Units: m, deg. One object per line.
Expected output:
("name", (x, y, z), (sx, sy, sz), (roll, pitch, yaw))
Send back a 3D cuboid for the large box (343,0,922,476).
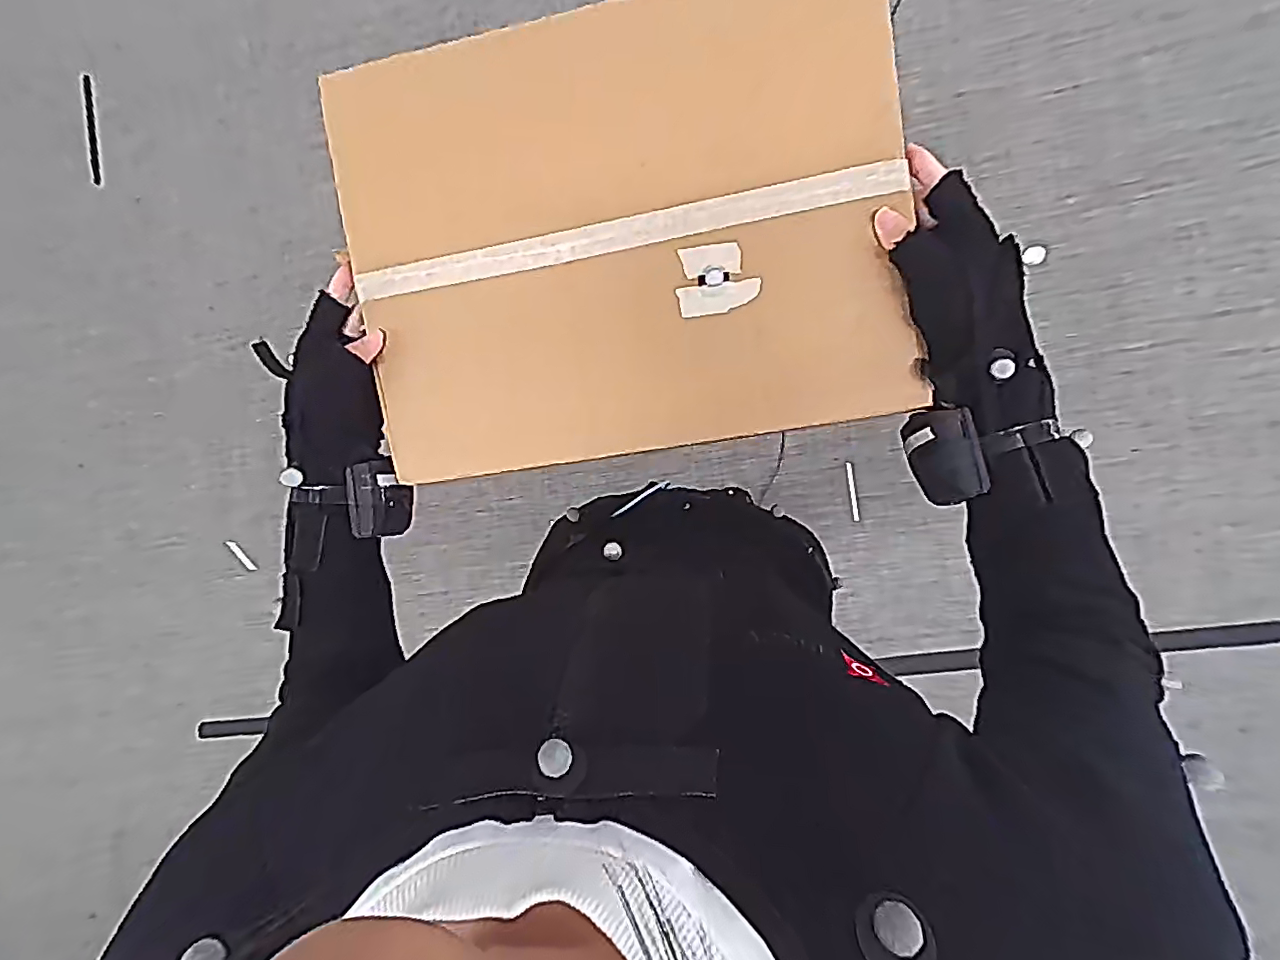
("large box", (0.002, -0.198, 0.552), (0.408, 0.320, 0.320), (-9, 96, 7))
